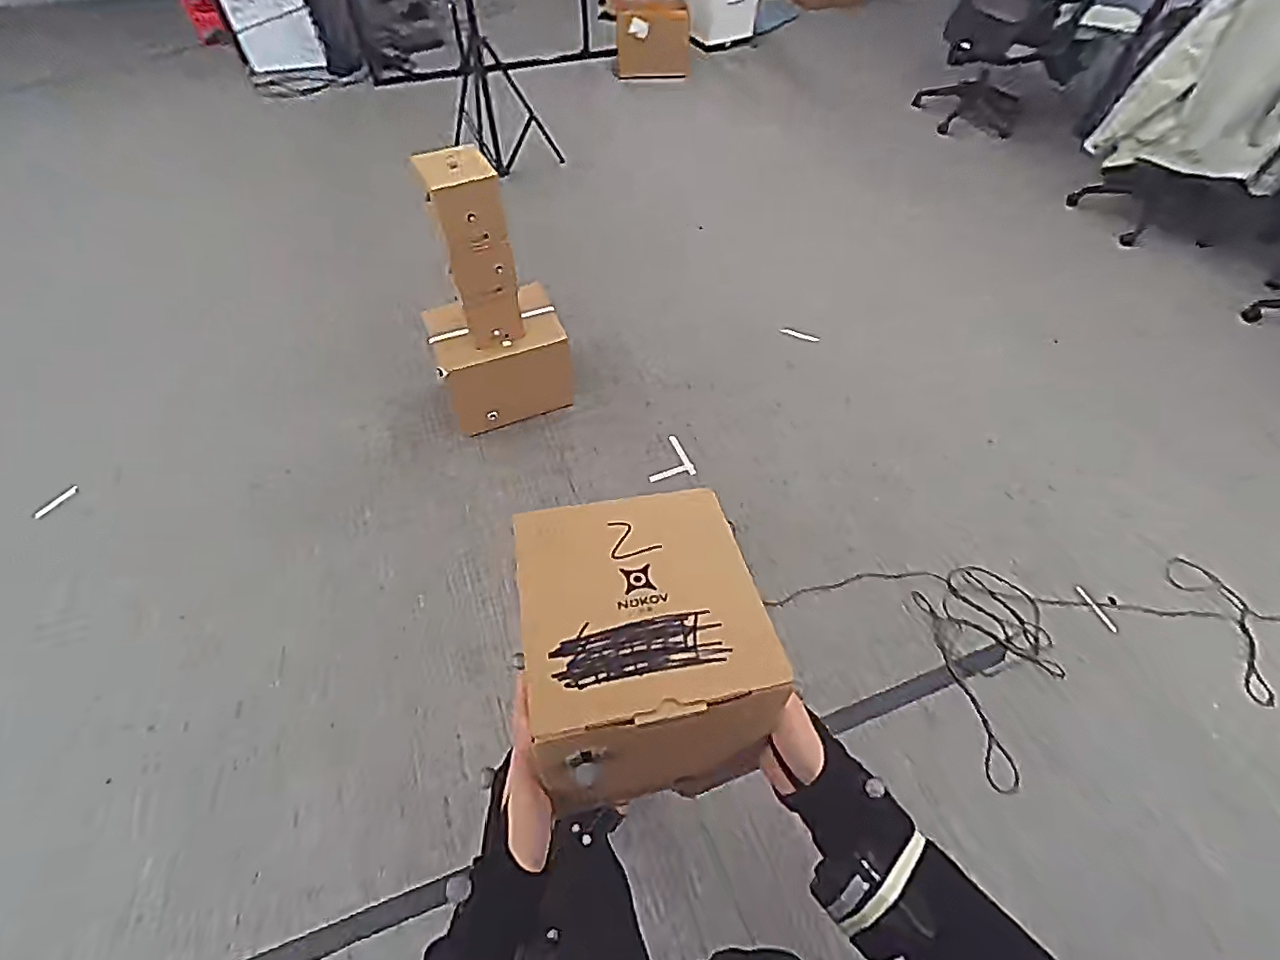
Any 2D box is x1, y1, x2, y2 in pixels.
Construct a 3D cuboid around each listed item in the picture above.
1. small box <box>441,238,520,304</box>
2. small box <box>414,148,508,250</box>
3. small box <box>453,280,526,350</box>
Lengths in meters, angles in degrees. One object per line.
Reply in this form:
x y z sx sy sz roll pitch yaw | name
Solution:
-0.451 -0.619 1.525 0.168 0.176 0.179 -21 58 -16 | small box
-0.453 -0.713 1.389 0.168 0.176 0.179 -24 60 -18 | small box
-0.461 -0.531 1.660 0.168 0.176 0.179 -20 59 -14 | small box
